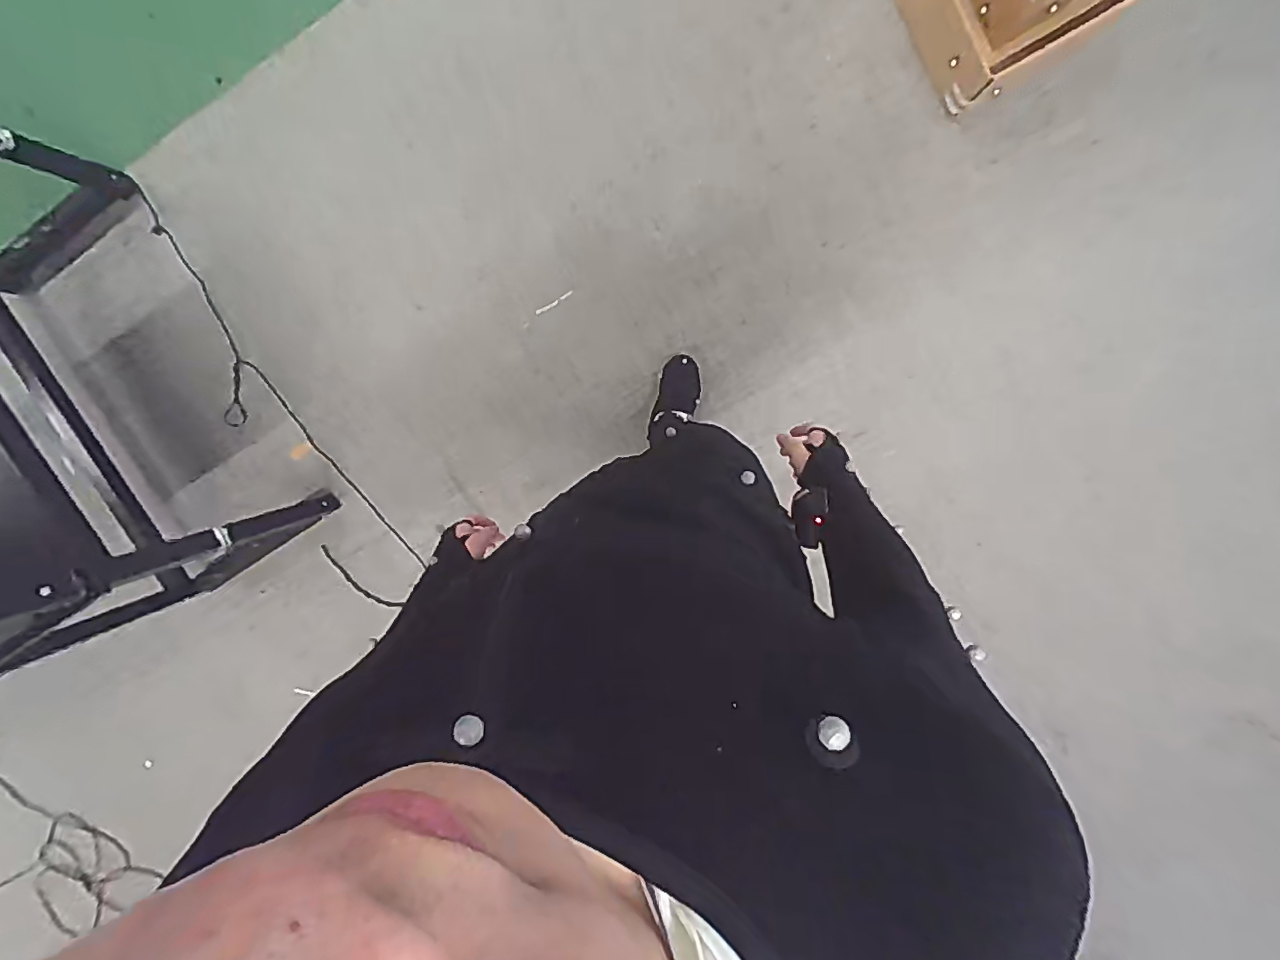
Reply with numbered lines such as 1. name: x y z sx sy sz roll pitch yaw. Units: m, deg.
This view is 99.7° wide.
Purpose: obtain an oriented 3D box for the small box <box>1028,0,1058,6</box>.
1. small box: 0.875 -1.094 1.063 0.168 0.176 0.179 -24 95 9
